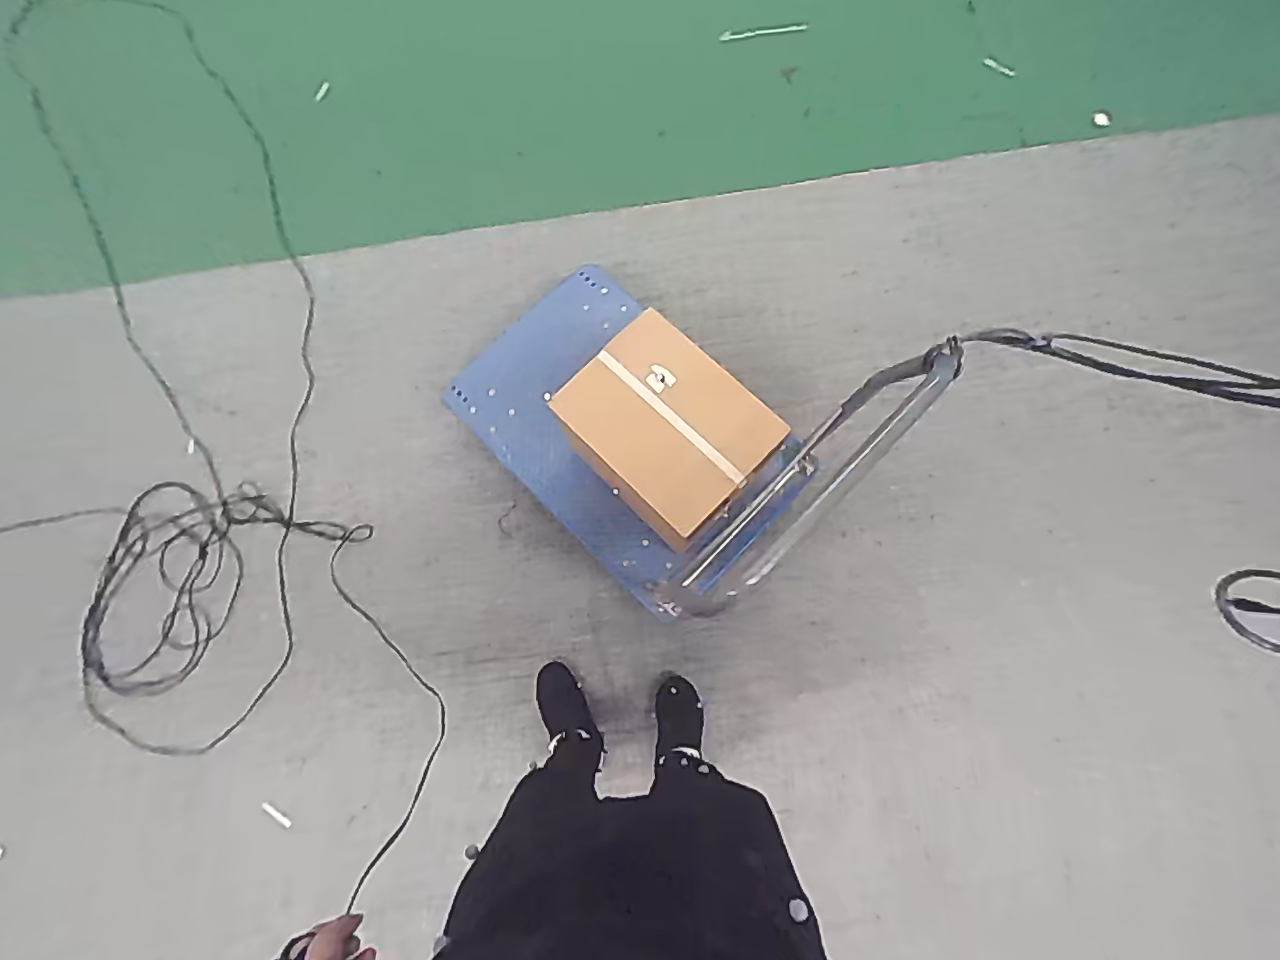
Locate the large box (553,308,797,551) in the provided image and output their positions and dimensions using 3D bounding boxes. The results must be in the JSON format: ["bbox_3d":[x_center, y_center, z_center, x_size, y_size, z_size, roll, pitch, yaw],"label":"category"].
[{"bbox_3d":[0.076,-0.093,1.227,0.408,0.320,0.320,43,81,12],"label":"large box"}]
